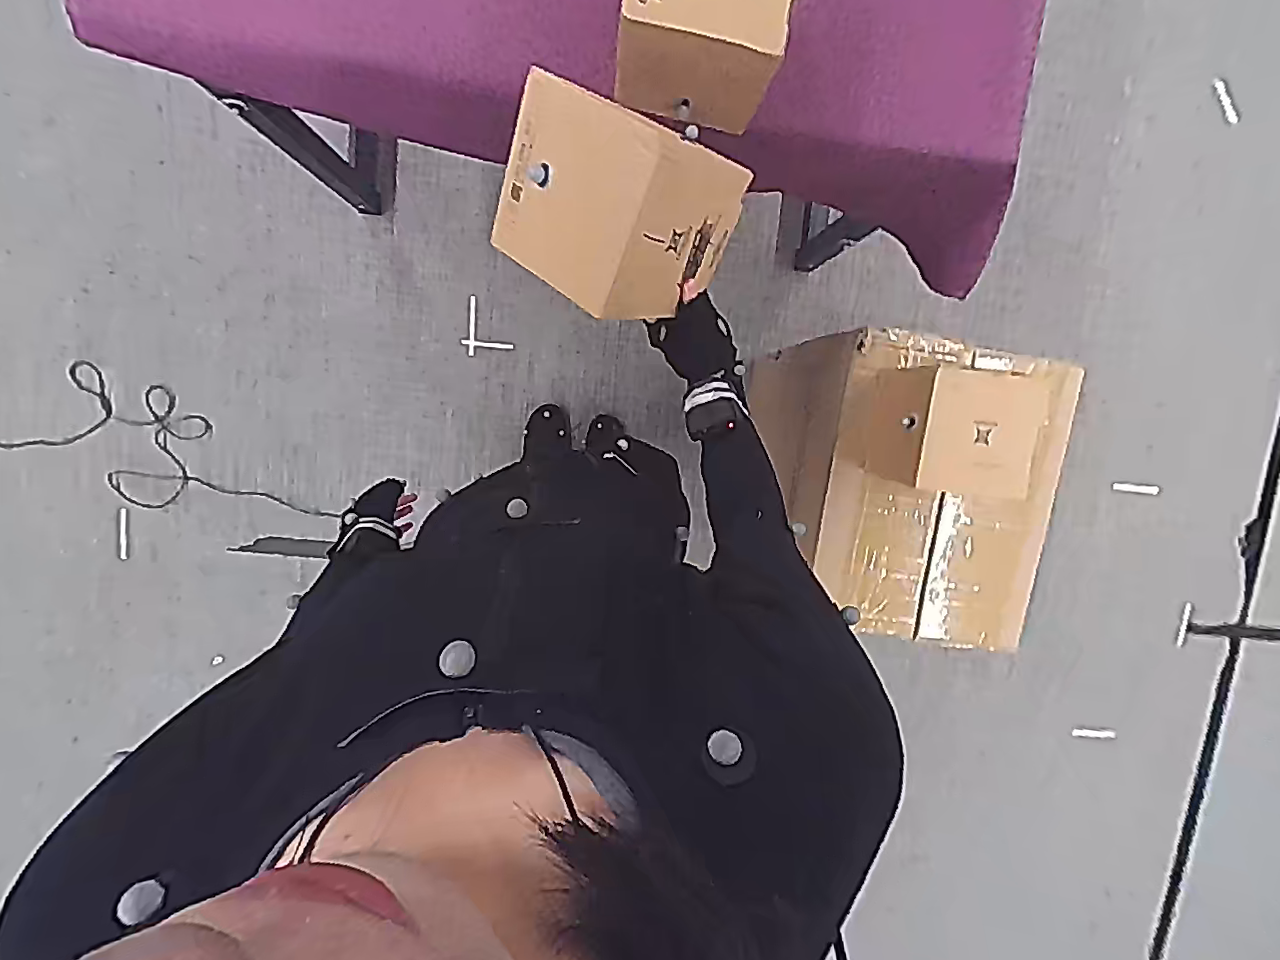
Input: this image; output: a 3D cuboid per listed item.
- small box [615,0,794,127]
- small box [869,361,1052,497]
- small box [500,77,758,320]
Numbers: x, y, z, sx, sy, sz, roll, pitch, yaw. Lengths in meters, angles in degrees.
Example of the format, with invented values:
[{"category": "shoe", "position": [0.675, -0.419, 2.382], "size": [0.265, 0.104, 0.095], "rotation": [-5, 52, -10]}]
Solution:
[{"category": "small box", "position": [0.073, -0.548, 0.629], "size": [0.179, 0.176, 0.168], "rotation": [10, 96, -6]}, {"category": "small box", "position": [0.473, -0.080, 0.827], "size": [0.168, 0.176, 0.179], "rotation": [6, 99, -2]}, {"category": "small box", "position": [-0.013, -0.285, 0.571], "size": [0.176, 0.179, 0.168], "rotation": [40, 123, 21]}]
